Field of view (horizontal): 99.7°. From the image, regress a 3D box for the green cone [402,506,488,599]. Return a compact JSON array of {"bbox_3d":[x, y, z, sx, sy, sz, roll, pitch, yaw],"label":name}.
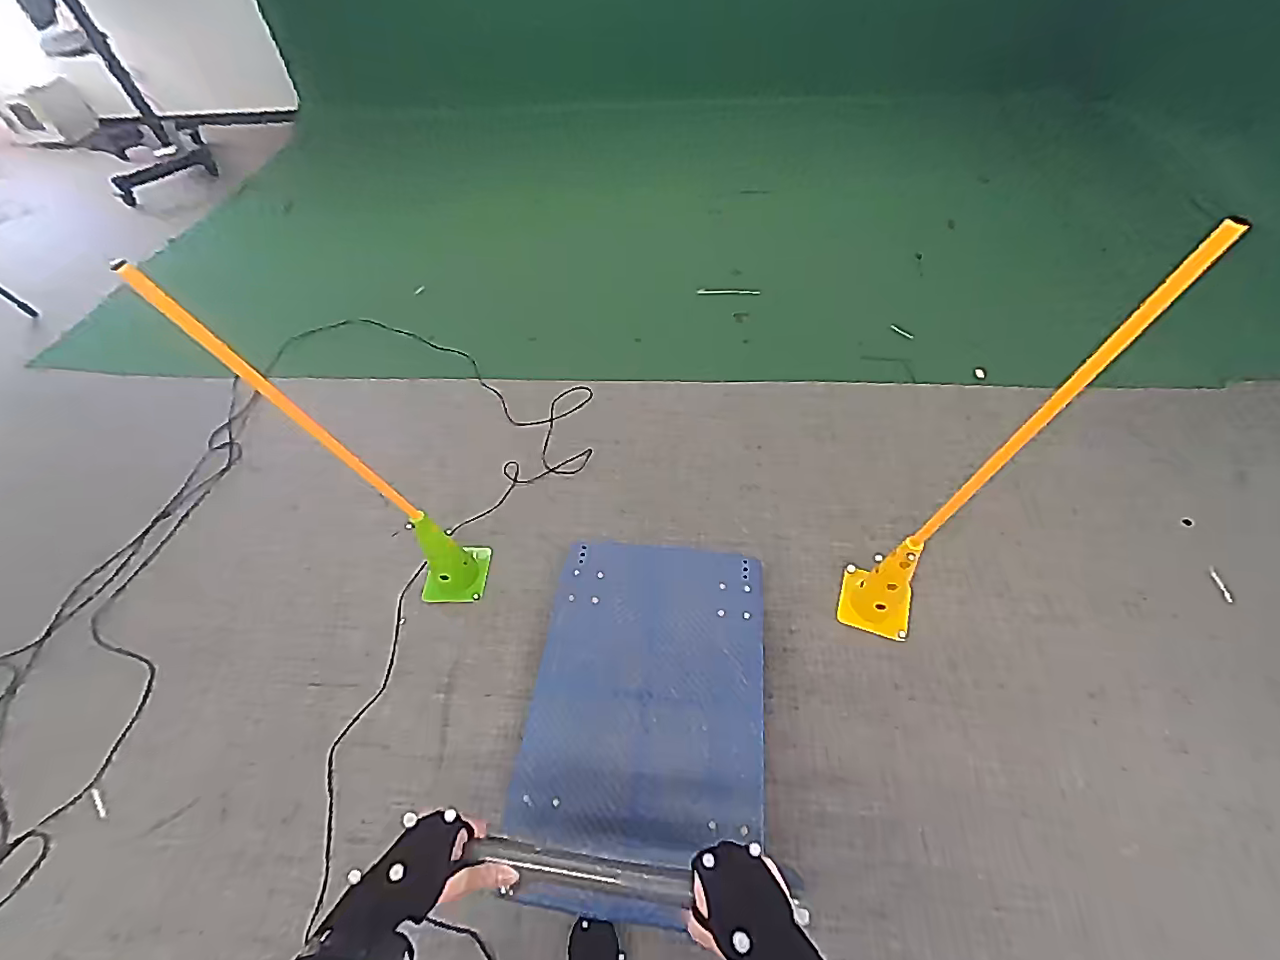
[{"bbox_3d":[-0.624,0.193,1.641,0.202,0.368,0.200,-2,52,4],"label":"green cone"}]
